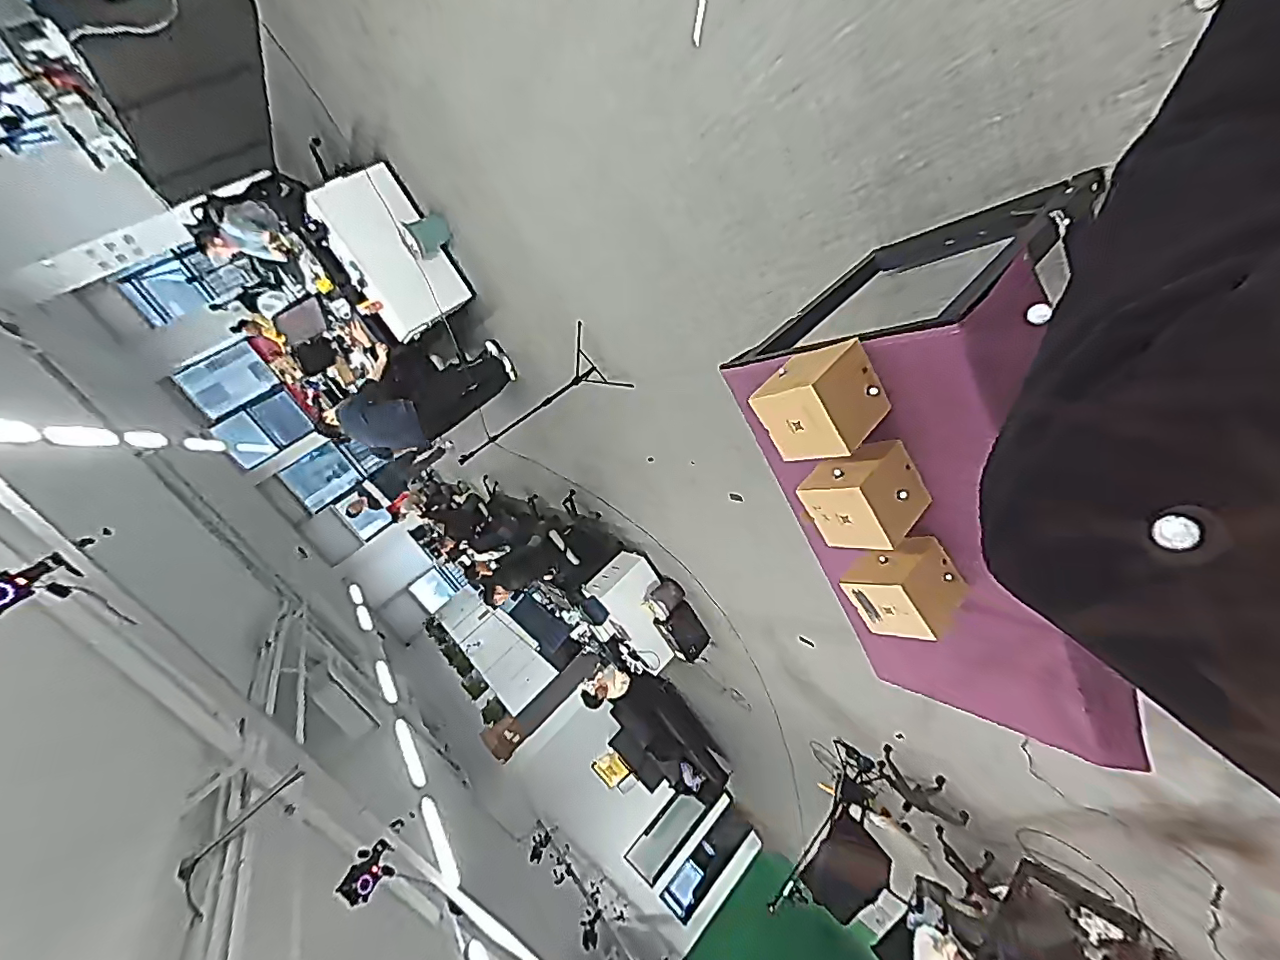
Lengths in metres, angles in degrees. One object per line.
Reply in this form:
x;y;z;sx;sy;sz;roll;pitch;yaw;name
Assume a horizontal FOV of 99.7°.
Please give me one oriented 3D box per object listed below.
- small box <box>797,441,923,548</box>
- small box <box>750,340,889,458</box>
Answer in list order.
0.488;0.029;1.186;0.168;0.176;0.179;55;156;-15;small box
0.366;-0.161;1.106;0.168;0.176;0.179;54;157;-18;small box
